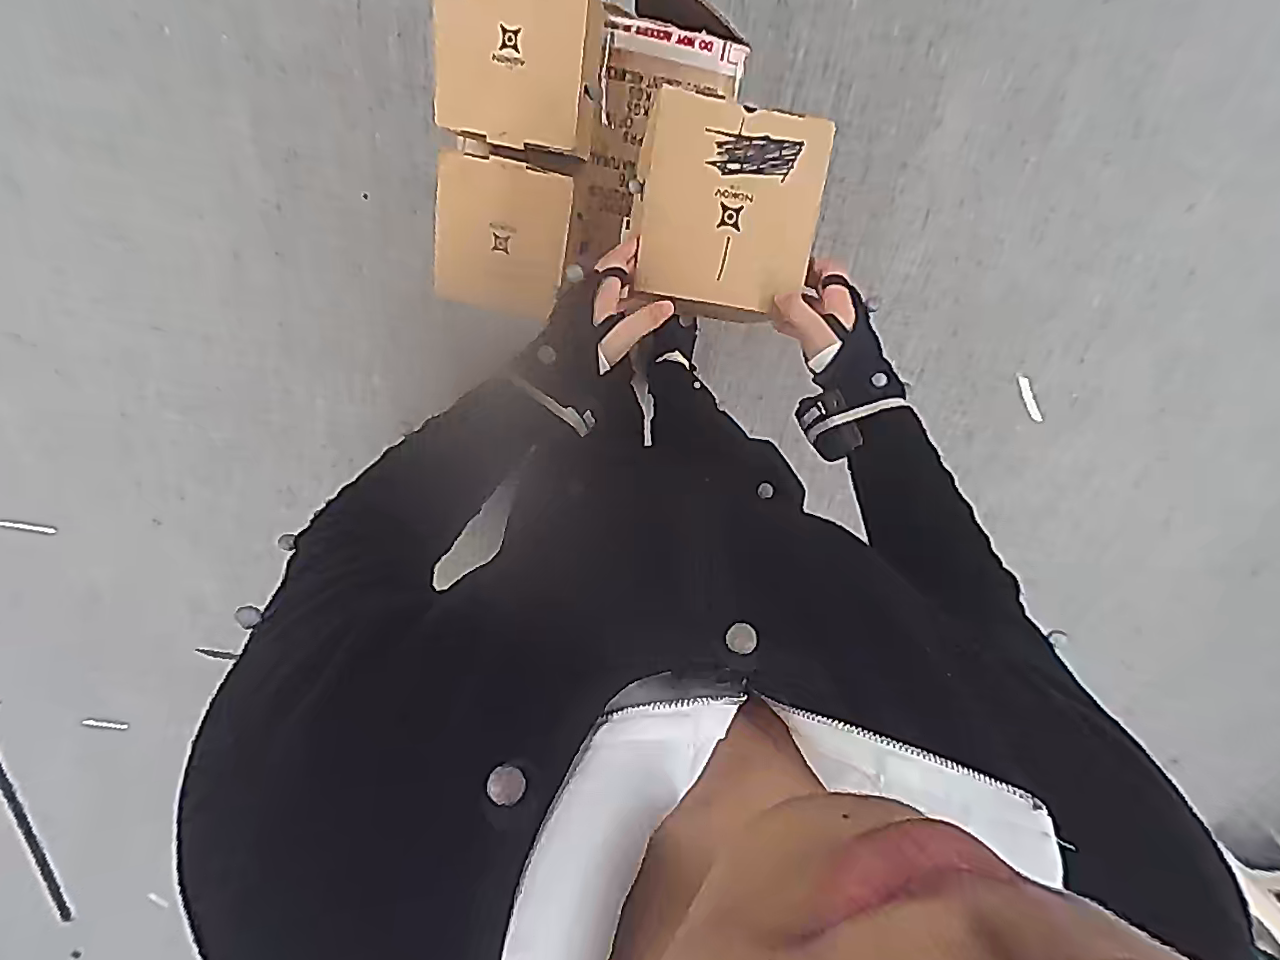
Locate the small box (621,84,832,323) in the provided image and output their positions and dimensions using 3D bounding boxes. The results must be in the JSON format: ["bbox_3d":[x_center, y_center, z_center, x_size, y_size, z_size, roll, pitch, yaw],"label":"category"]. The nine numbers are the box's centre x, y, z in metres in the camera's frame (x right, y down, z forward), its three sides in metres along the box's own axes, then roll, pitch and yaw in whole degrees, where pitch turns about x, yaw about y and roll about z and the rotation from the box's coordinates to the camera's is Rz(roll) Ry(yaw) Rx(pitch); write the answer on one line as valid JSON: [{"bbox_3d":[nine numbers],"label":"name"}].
[{"bbox_3d":[0.075,-0.273,0.579,0.168,0.176,0.179,7,103,-8],"label":"small box"}]
